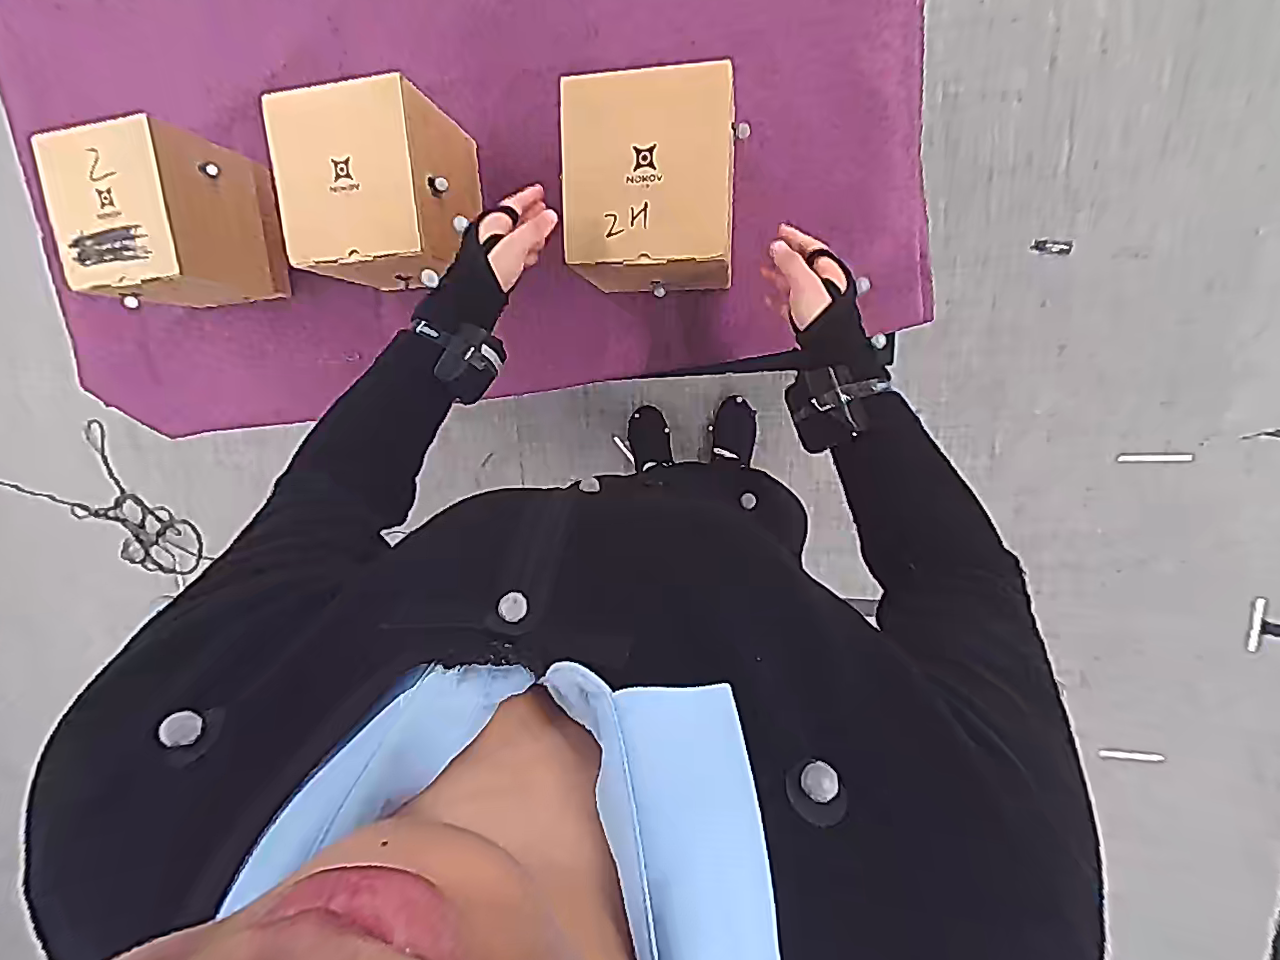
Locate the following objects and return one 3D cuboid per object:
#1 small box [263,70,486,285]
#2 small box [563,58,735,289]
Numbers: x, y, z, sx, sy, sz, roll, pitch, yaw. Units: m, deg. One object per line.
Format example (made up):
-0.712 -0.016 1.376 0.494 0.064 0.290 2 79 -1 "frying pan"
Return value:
-0.303 -0.344 0.652 0.168 0.176 0.179 -1 101 10 "small box"
0.018 -0.317 0.598 0.168 0.176 0.179 2 101 10 "small box"
